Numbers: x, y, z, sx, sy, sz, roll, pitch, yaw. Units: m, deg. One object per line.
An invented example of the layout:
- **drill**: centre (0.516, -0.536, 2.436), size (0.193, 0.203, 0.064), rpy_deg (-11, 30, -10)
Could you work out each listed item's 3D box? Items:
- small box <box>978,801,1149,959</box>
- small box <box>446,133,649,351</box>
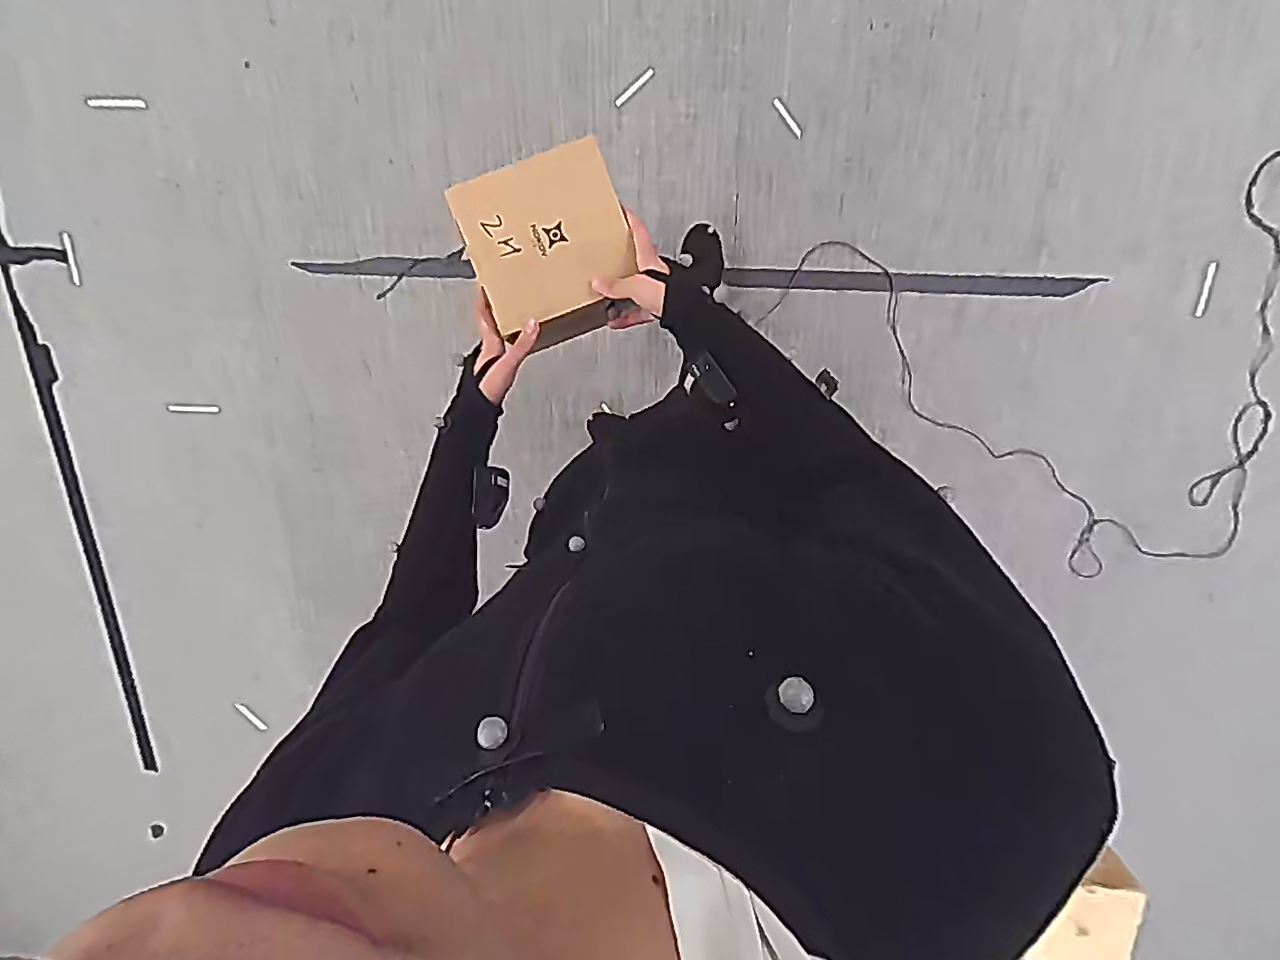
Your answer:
- **small box**: centre (0.729, 0.709, 0.956), size (0.168, 0.176, 0.179), rpy_deg (-2, 105, 5)
- **small box**: centre (-0.102, -0.271, 0.657), size (0.179, 0.176, 0.168), rpy_deg (-21, 96, -1)
